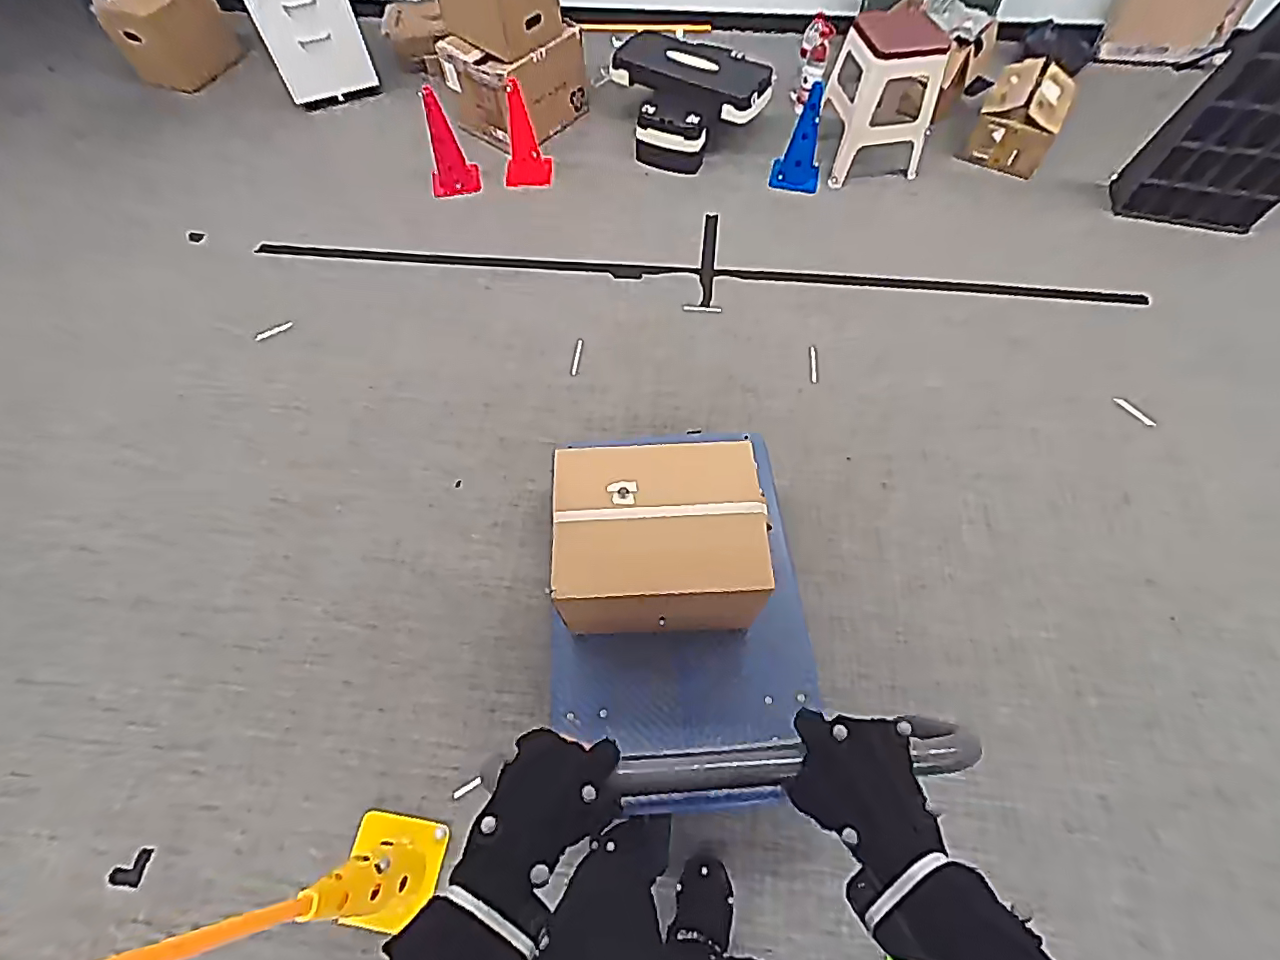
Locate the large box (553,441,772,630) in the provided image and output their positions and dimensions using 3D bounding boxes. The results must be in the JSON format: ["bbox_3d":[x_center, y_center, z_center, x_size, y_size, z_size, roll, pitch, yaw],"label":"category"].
[{"bbox_3d":[0.039,0.134,1.171,0.408,0.320,0.320,-3,62,0],"label":"large box"}]

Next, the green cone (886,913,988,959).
[{"bbox_3d":[0.590,0.909,0.912,0.202,0.368,0.200,9,62,4],"label":"green cone"}]
